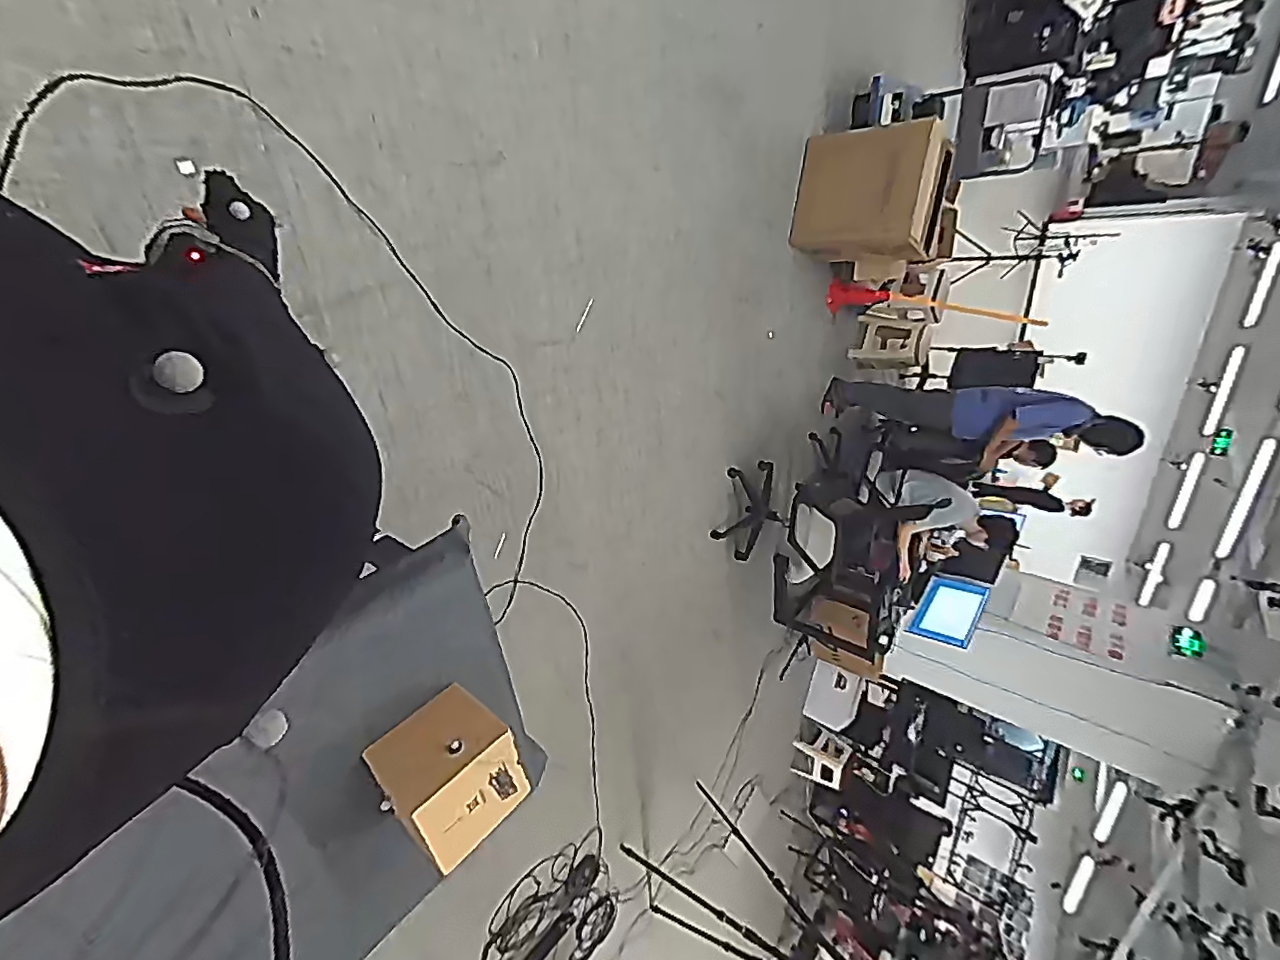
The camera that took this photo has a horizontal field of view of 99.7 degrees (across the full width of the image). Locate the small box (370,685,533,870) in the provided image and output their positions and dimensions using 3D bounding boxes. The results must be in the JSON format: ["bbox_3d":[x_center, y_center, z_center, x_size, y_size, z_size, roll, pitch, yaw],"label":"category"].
[{"bbox_3d":[-0.314,0.485,0.909,0.179,0.176,0.168,-33,126,-38],"label":"small box"}]
